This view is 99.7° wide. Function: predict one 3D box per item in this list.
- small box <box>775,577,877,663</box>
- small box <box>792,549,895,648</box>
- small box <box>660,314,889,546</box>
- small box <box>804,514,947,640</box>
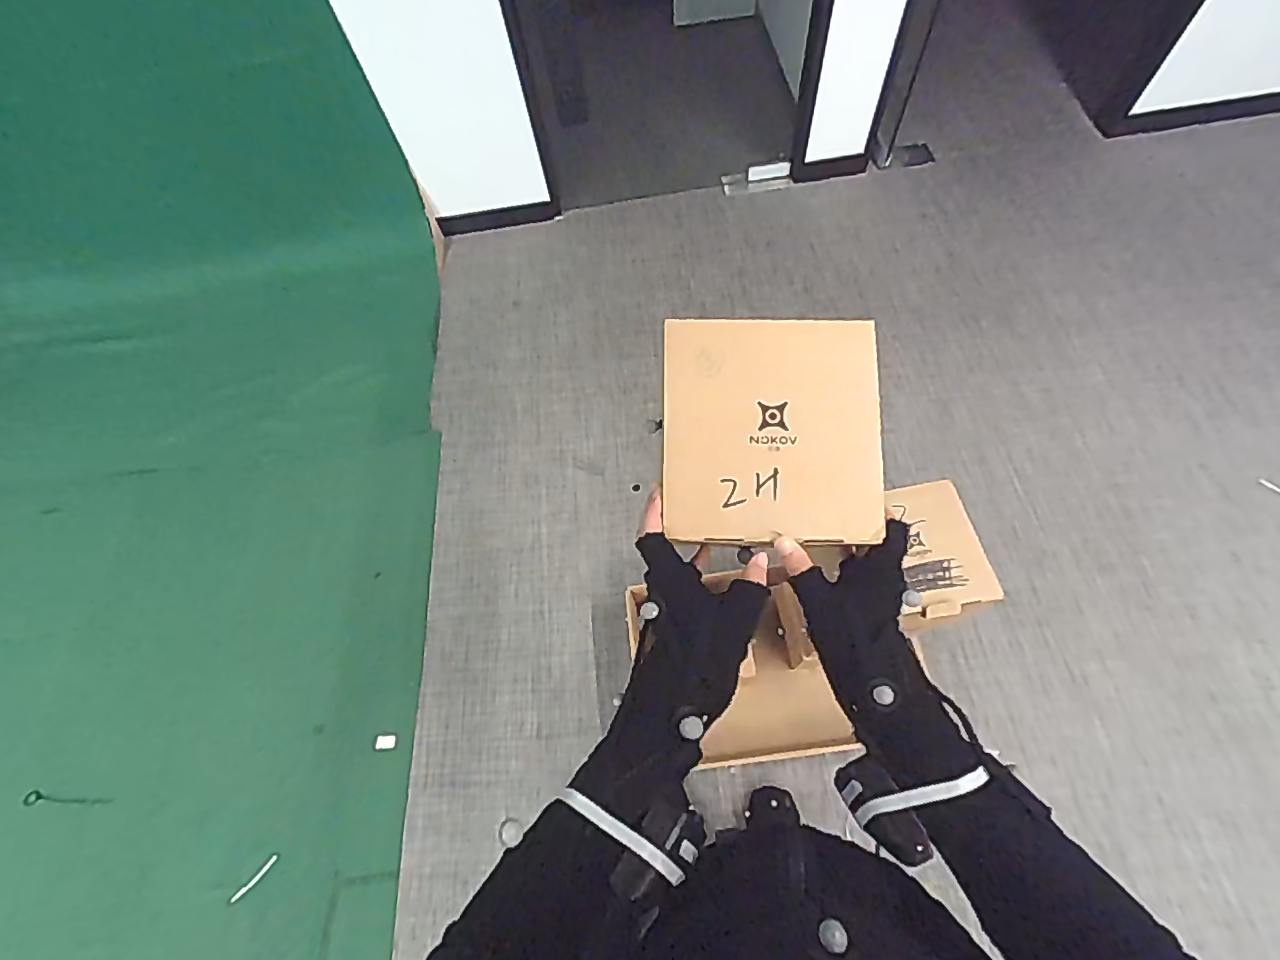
[{"bbox_3d":[0.421,0.317,1.249,0.168,0.176,0.179,-13,63,2],"label":"small box"},{"bbox_3d":[0.415,0.235,1.087,0.168,0.176,0.179,-9,64,3],"label":"small box"},{"bbox_3d":[0.103,-0.031,0.487,0.168,0.176,0.179,1,83,1],"label":"small box"},{"bbox_3d":[0.399,0.178,0.952,0.168,0.176,0.179,-8,64,2],"label":"small box"}]
